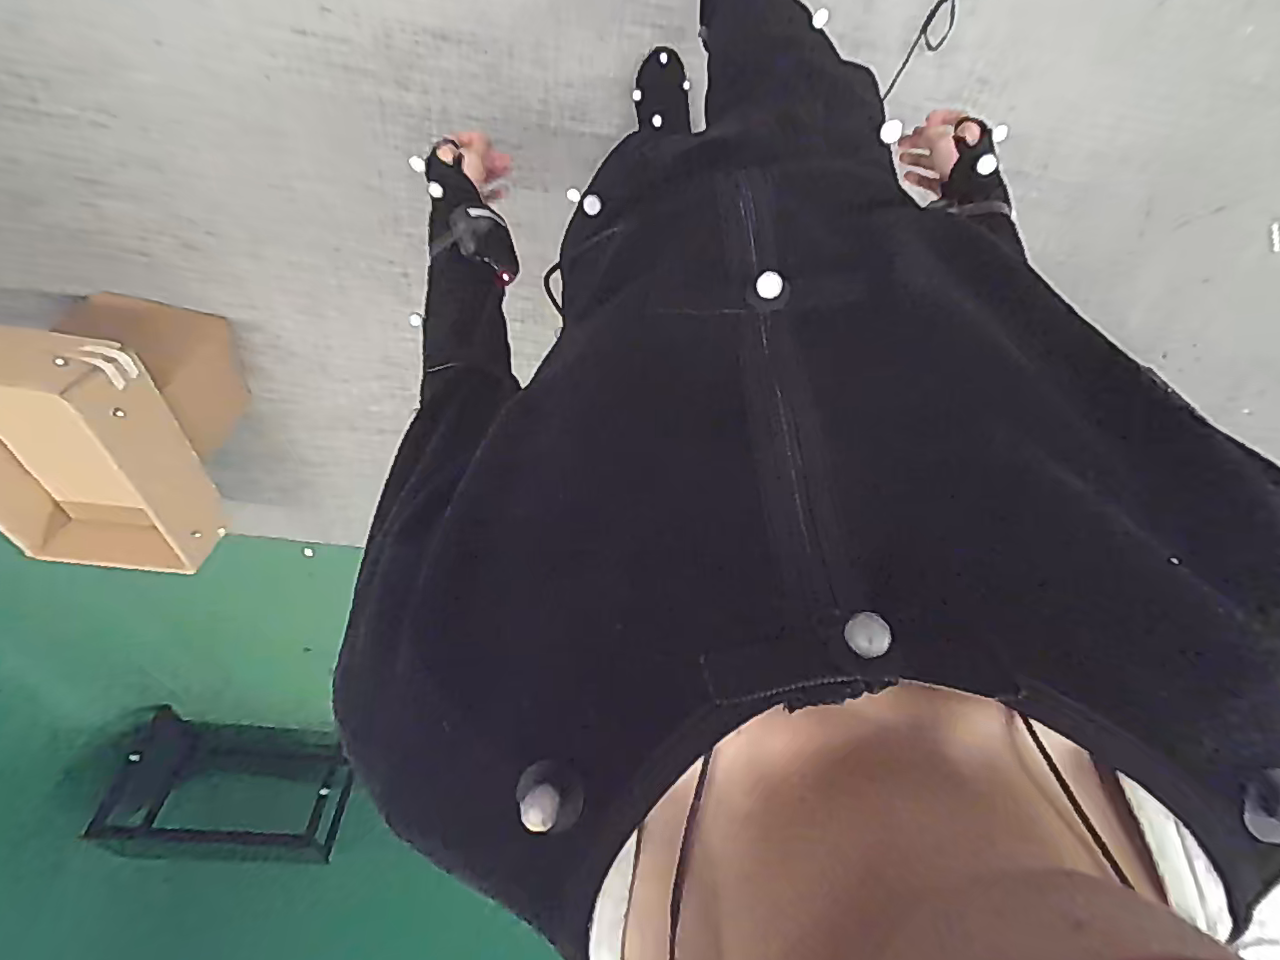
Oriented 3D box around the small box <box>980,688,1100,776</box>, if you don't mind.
[{"bbox_3d":[1.079,0.688,1.479,0.168,0.176,0.179,11,135,-9],"label":"small box"}]
